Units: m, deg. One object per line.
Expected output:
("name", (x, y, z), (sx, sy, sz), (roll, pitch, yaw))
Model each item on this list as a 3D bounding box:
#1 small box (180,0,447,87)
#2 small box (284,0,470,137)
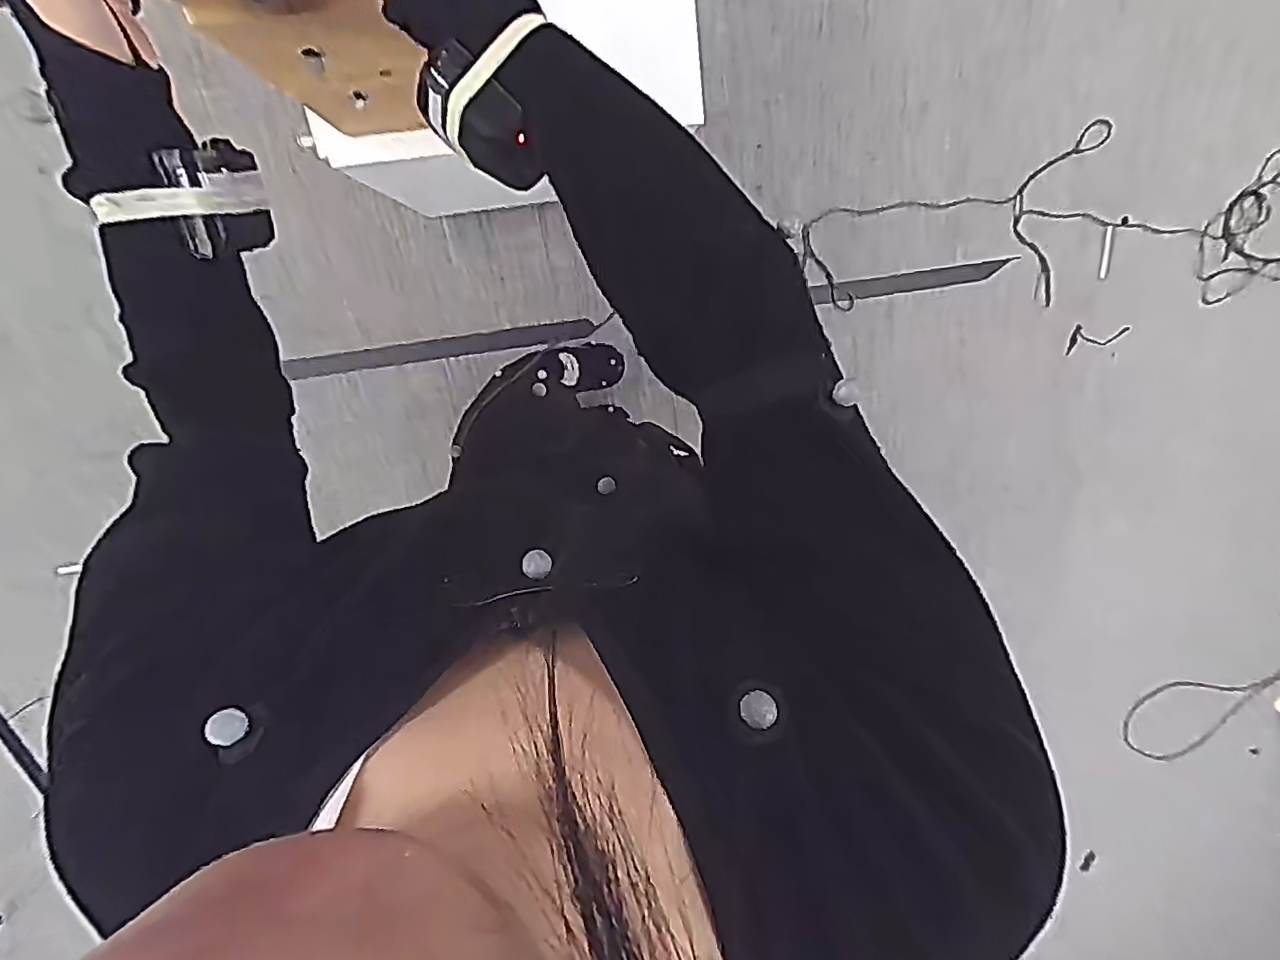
("small box", (-0.273, -0.453, 0.446), (0.168, 0.176, 0.179), (-11, 111, -5))
("small box", (-0.297, -0.509, 0.598), (0.168, 0.176, 0.179), (-9, 109, -5))
